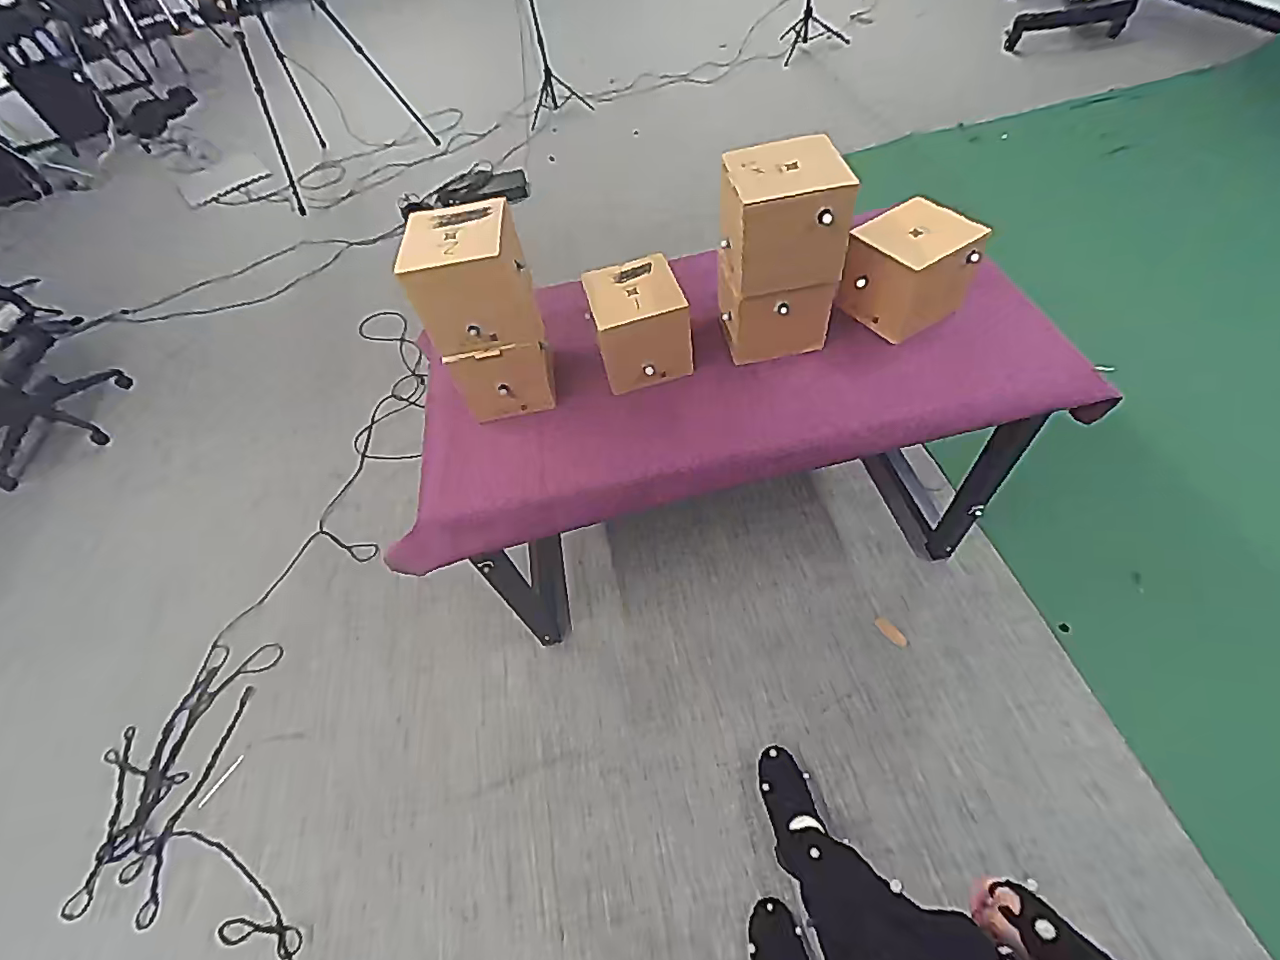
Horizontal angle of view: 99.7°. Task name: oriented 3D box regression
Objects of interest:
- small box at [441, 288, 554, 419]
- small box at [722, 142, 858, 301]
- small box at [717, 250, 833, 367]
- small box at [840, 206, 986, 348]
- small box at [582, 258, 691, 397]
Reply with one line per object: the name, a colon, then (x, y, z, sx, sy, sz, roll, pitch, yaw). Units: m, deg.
small box: (-0.267, -0.235, 1.045, 0.168, 0.176, 0.179, -11, 54, 1)
small box: (0.237, -0.427, 0.903, 0.179, 0.176, 0.168, -9, 54, 3)
small box: (0.251, -0.337, 1.041, 0.179, 0.176, 0.168, -9, 54, 2)
small box: (0.506, -0.383, 1.034, 0.179, 0.176, 0.168, -29, 55, -12)
small box: (-0.004, -0.291, 1.045, 0.168, 0.176, 0.179, -16, 54, -2)
